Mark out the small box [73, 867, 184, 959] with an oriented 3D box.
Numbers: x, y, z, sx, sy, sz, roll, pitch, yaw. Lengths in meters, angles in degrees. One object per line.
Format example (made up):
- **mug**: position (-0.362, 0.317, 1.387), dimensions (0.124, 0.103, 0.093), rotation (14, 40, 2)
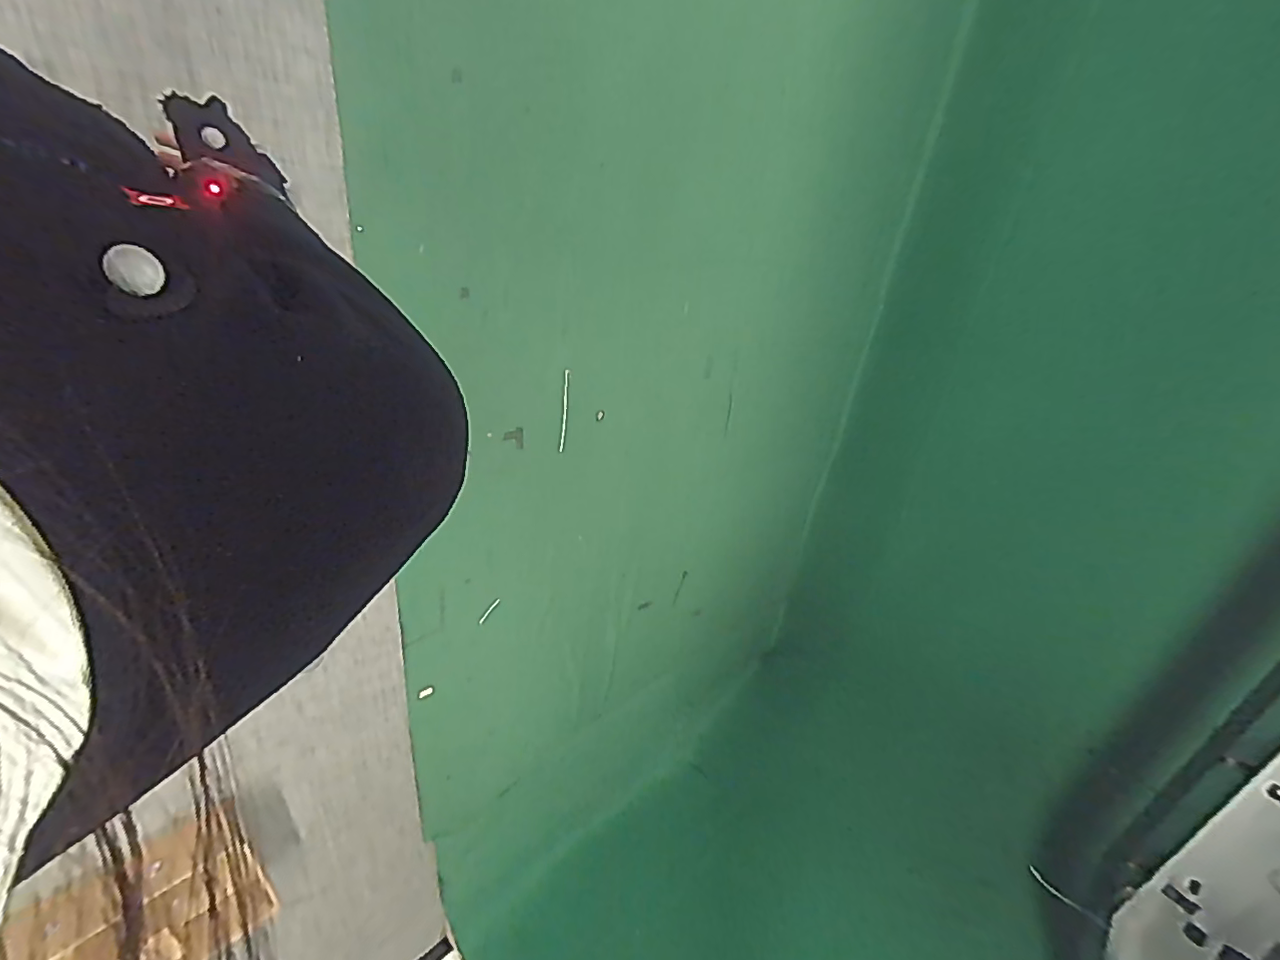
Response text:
- **small box**: position (-1.386, 1.213, 1.463), dimensions (0.179, 0.176, 0.168), rotation (-25, 132, -41)
